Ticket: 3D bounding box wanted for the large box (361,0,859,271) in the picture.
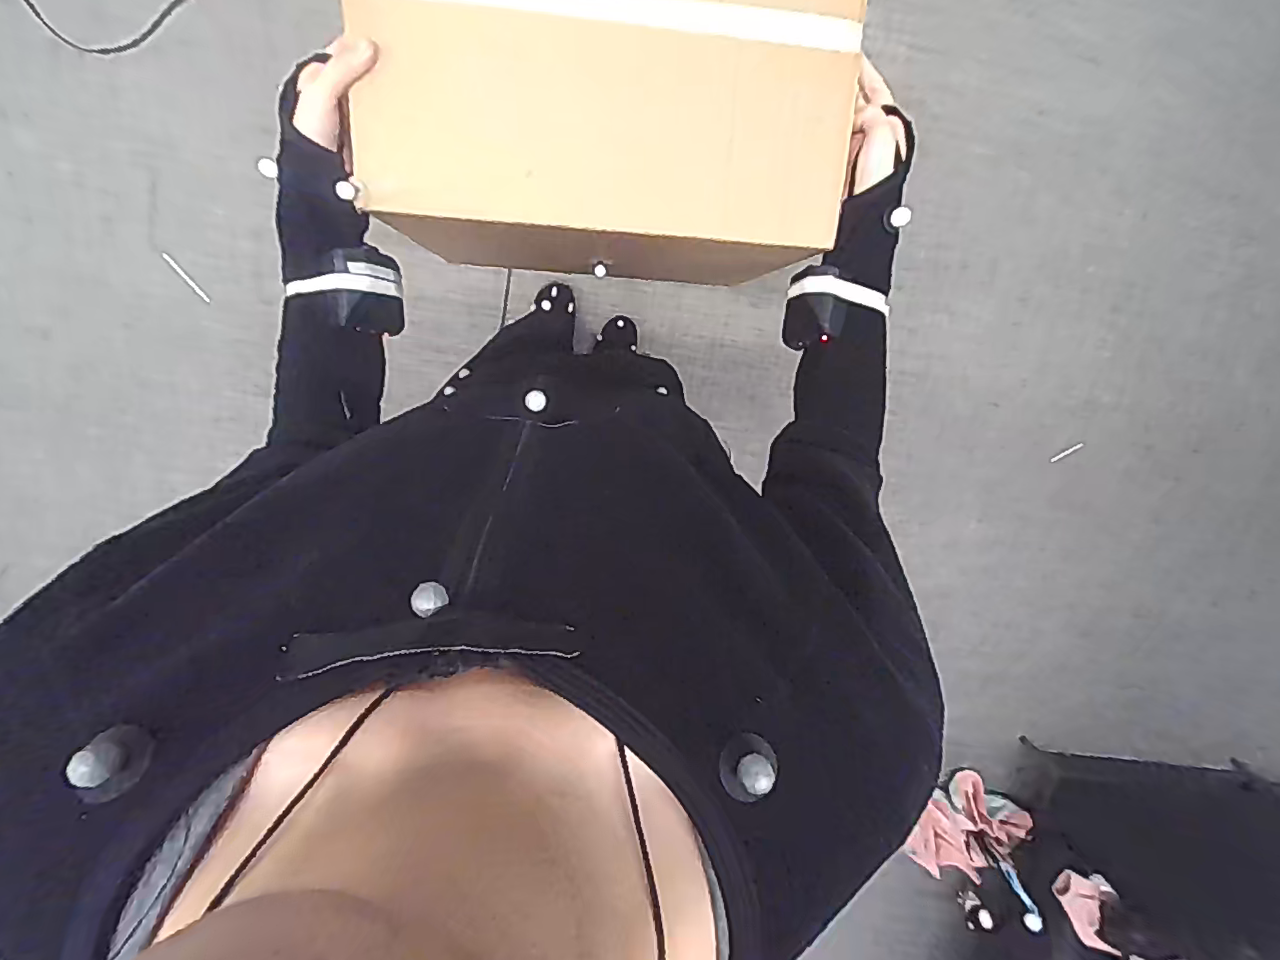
[{"bbox_3d":[-0.030,-0.410,0.576,0.408,0.320,0.320,2,103,-6],"label":"large box"}]
